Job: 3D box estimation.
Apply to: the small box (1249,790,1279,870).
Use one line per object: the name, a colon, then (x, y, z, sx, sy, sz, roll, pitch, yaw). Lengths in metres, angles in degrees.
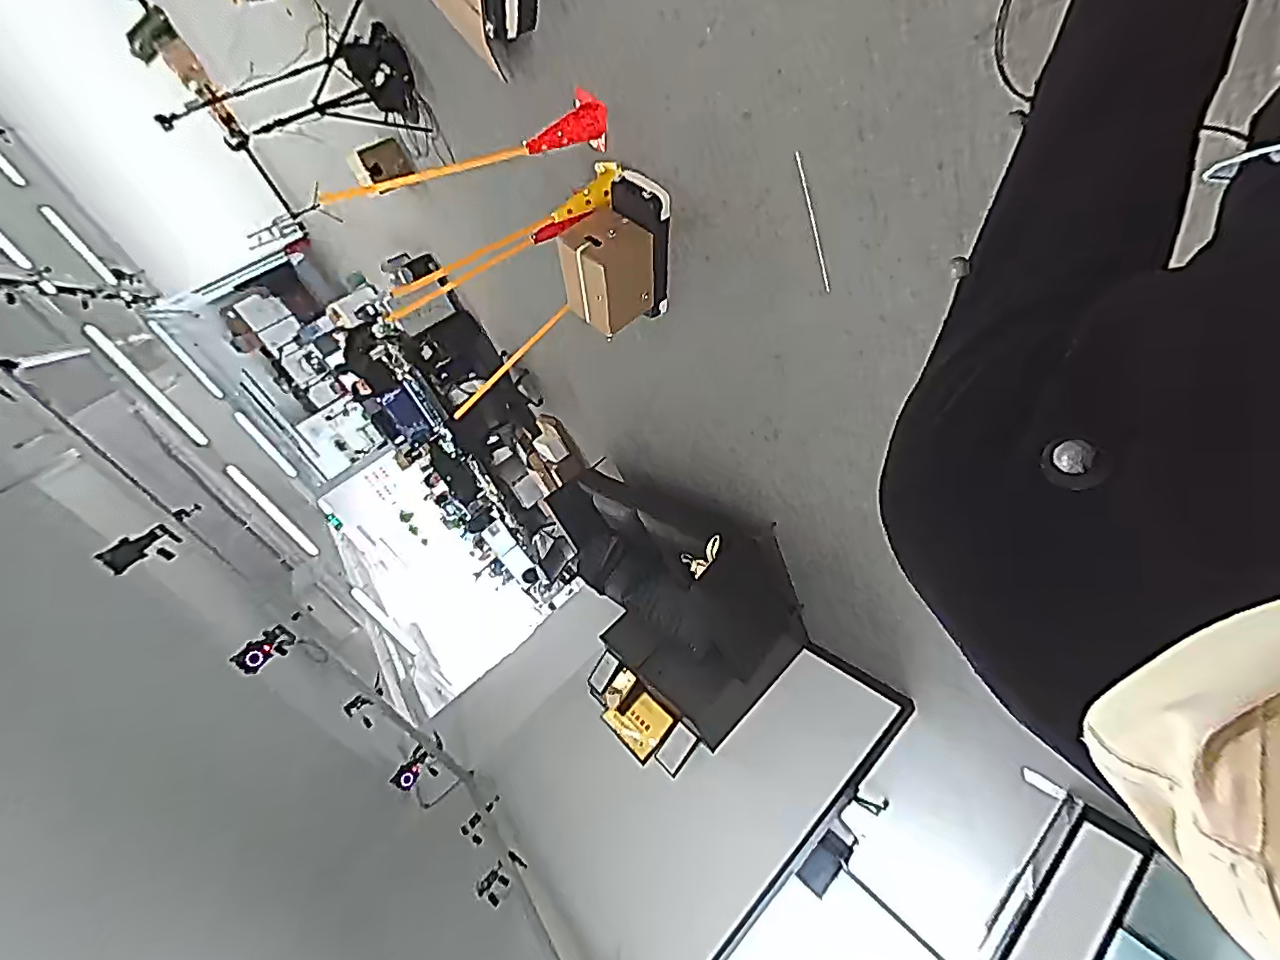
small box: (1.616, 0.856, 1.285, 0.168, 0.176, 0.179, 27, 149, 51)
